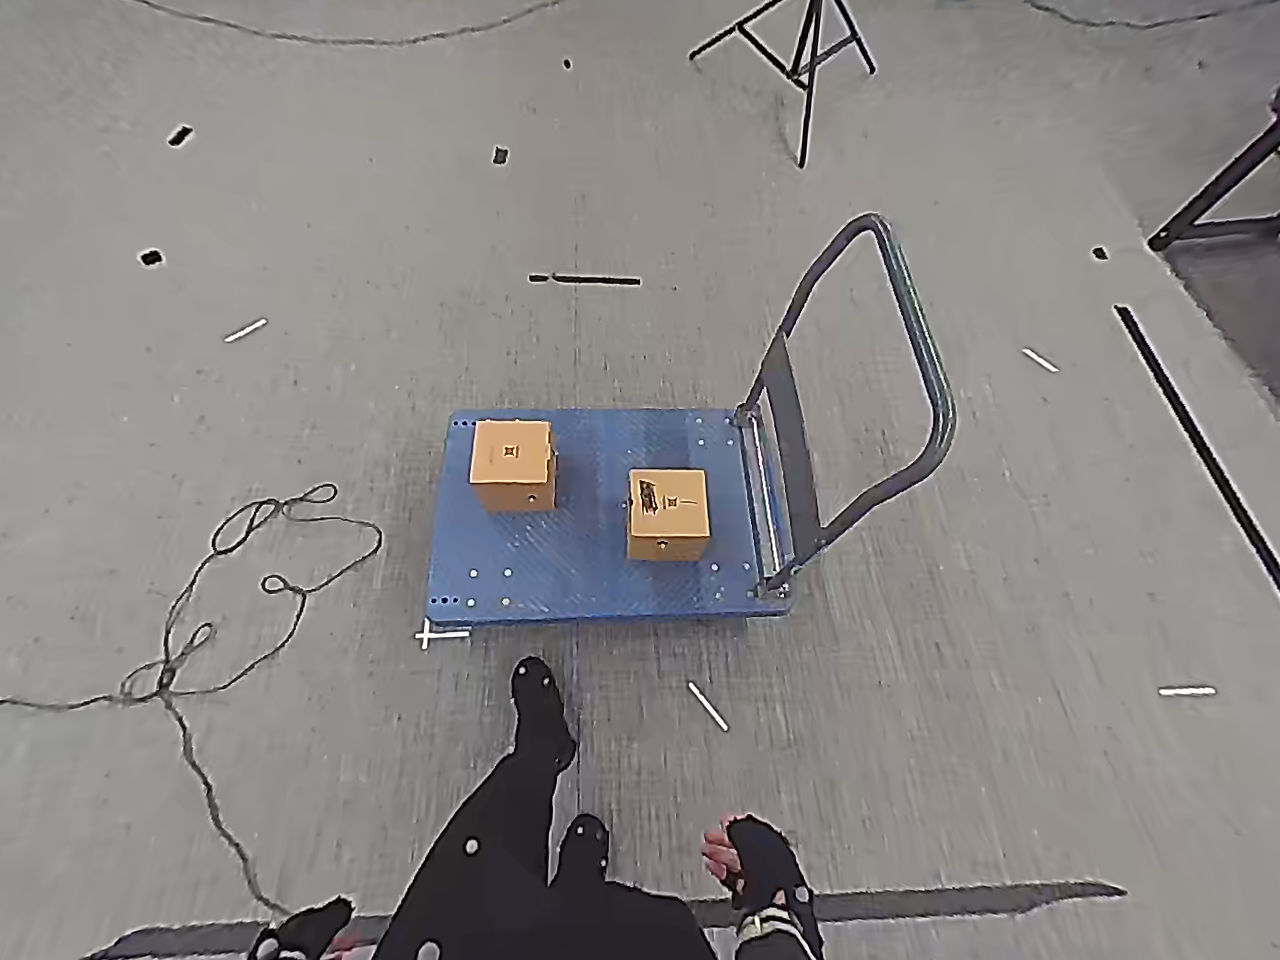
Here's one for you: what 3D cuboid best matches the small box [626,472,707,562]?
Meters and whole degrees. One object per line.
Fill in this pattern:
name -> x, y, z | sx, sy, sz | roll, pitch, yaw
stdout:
small box -> 0.056, 0.093, 1.285 | 0.179, 0.176, 0.168 | 1, 63, -4

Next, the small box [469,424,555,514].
small box -> -0.303, -0.022, 1.321 | 0.179, 0.176, 0.168 | -1, 63, -3
